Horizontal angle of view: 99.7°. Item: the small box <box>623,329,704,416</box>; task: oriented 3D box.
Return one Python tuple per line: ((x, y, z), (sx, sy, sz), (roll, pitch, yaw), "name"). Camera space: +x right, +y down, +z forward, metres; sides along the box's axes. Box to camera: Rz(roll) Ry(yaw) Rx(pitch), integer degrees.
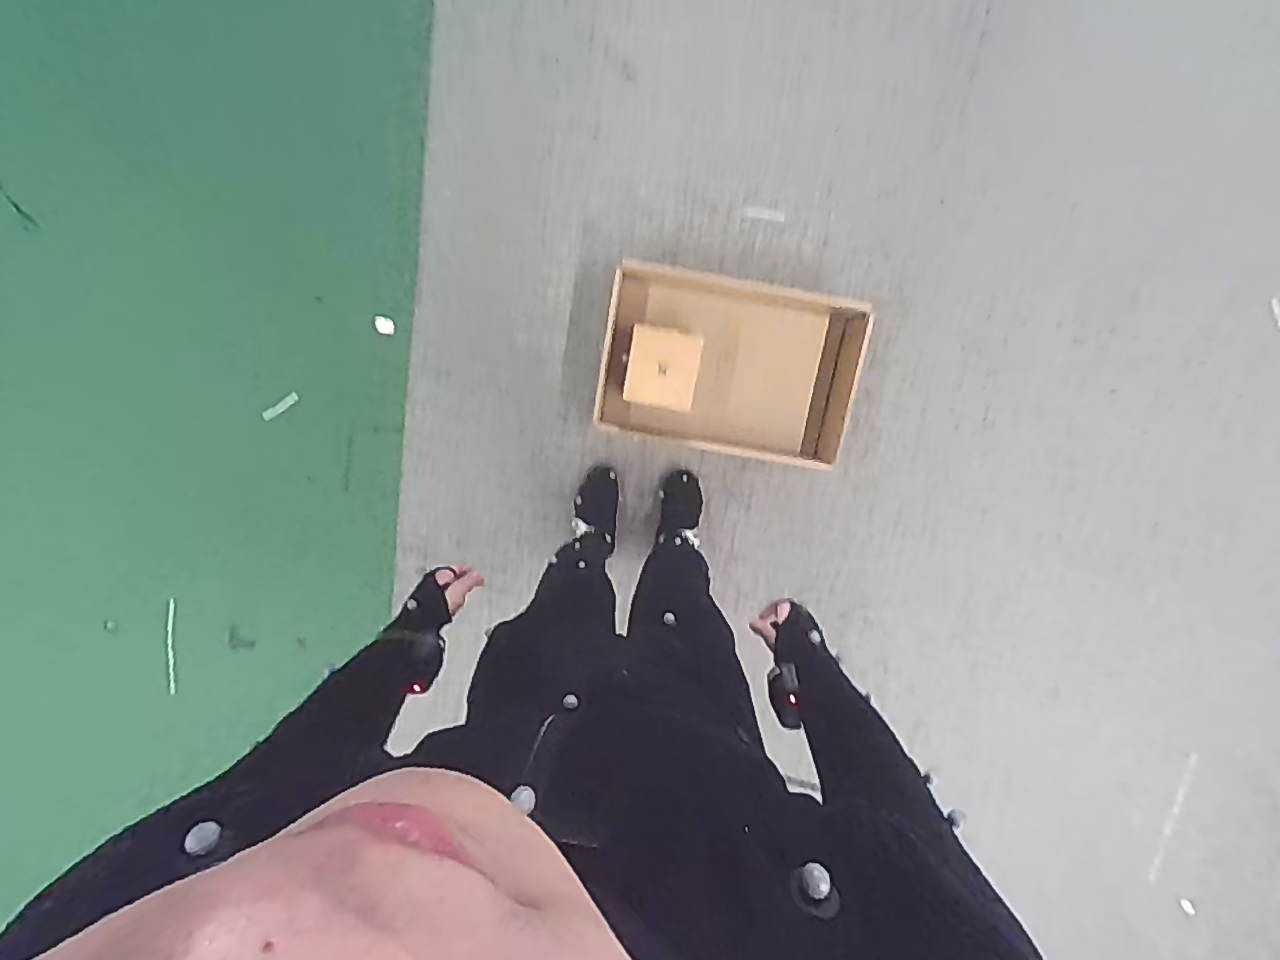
((0.055, -0.262, 1.338), (0.168, 0.176, 0.179), (10, 99, -2), "small box")
